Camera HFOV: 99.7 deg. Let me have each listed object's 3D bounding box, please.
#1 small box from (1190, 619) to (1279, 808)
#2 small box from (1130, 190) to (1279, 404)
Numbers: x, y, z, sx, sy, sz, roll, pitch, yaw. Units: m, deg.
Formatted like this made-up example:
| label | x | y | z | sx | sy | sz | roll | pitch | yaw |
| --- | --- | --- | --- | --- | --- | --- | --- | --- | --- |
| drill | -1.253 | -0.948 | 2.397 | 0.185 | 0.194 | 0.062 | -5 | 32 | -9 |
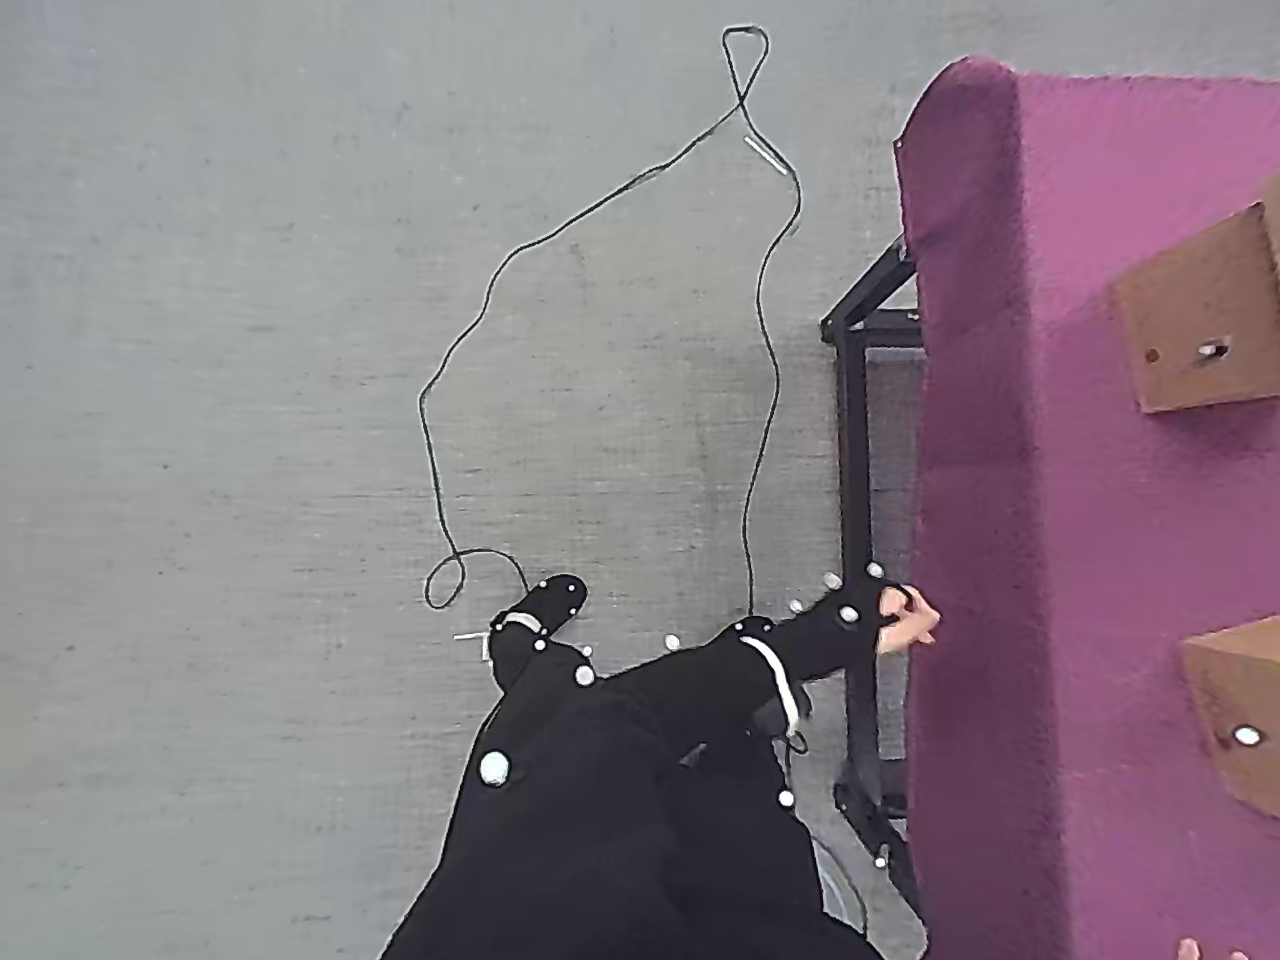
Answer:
| label | x | y | z | sx | sy | sz | roll | pitch | yaw |
| --- | --- | --- | --- | --- | --- | --- | --- | --- | --- |
| small box | 0.690 | 0.222 | 0.500 | 0.179 | 0.176 | 0.168 | -13 | 85 | -2 |
| small box | 0.640 | -0.179 | 0.536 | 0.179 | 0.176 | 0.168 | -7 | 86 | -2 |
